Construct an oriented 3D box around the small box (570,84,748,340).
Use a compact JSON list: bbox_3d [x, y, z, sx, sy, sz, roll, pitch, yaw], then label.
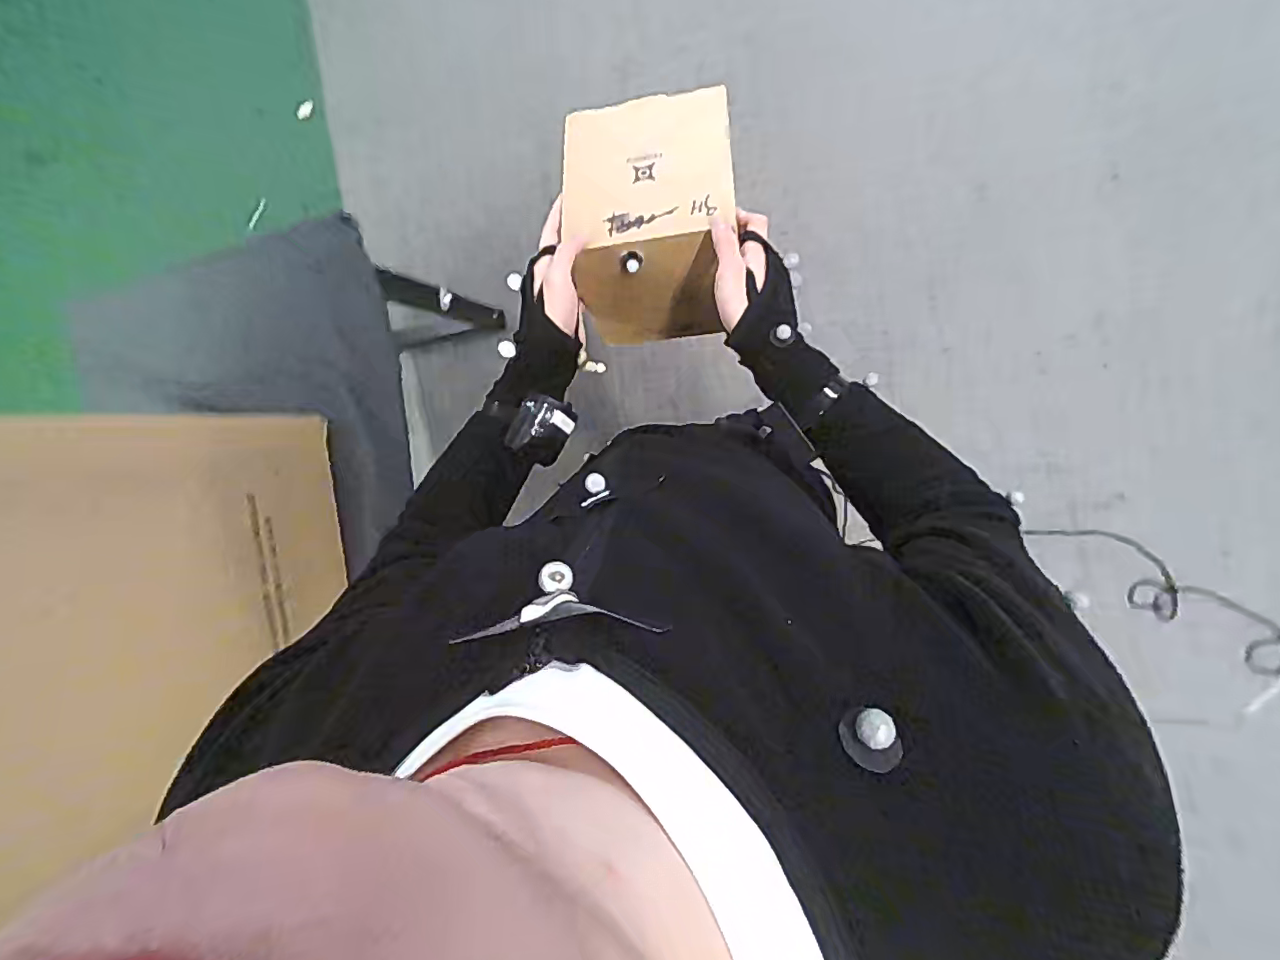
[{"bbox_3d":[0.031,-0.279,0.592,0.168,0.176,0.179,-3,71,11],"label":"small box"}]
